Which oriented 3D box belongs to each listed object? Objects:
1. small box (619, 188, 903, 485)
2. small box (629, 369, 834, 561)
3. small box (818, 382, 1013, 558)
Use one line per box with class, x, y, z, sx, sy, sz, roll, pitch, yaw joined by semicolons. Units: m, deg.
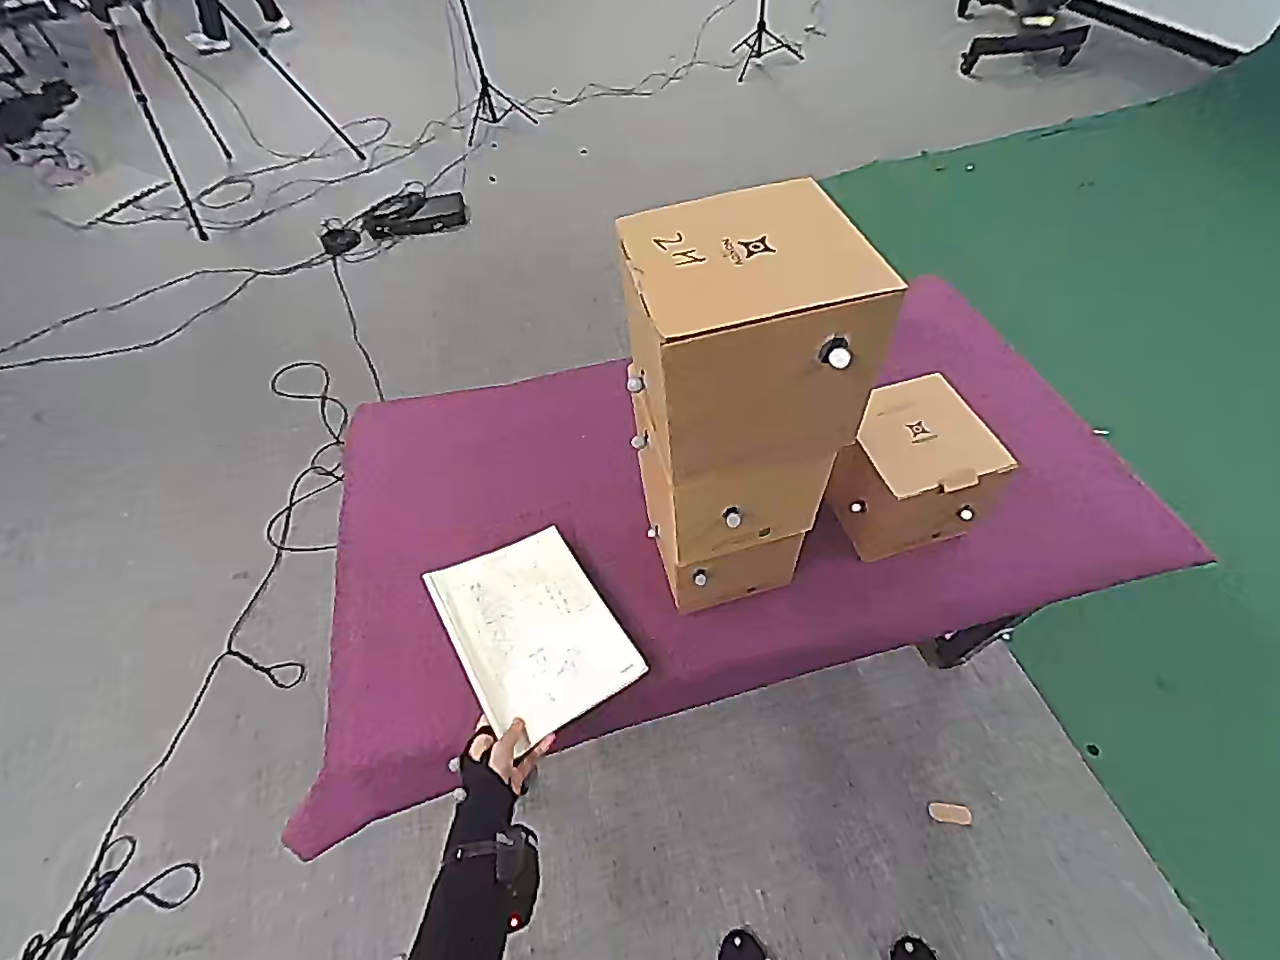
small box;0.088;-0.119;0.474;0.179;0.176;0.168;-13;53;-2
small box;0.094;-0.026;0.610;0.168;0.176;0.179;-15;53;-4
small box;0.367;-0.006;0.768;0.168;0.176;0.179;-14;53;-5
